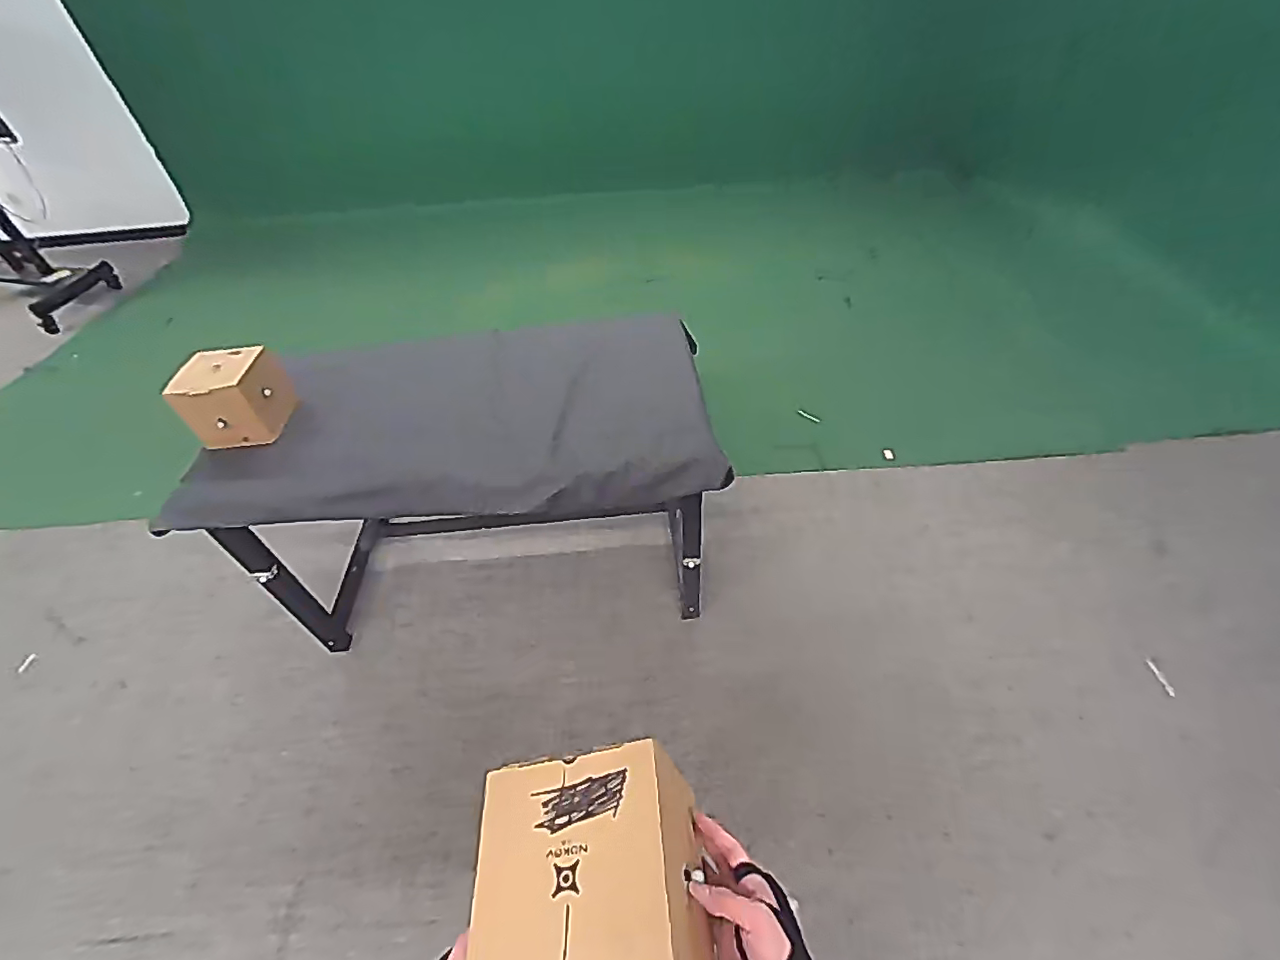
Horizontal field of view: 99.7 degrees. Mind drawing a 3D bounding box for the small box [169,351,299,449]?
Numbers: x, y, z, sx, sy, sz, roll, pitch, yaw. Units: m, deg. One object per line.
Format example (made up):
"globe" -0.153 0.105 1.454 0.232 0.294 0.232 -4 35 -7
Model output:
"small box" -0.970 -0.187 1.314 0.168 0.176 0.179 -6 46 -3
